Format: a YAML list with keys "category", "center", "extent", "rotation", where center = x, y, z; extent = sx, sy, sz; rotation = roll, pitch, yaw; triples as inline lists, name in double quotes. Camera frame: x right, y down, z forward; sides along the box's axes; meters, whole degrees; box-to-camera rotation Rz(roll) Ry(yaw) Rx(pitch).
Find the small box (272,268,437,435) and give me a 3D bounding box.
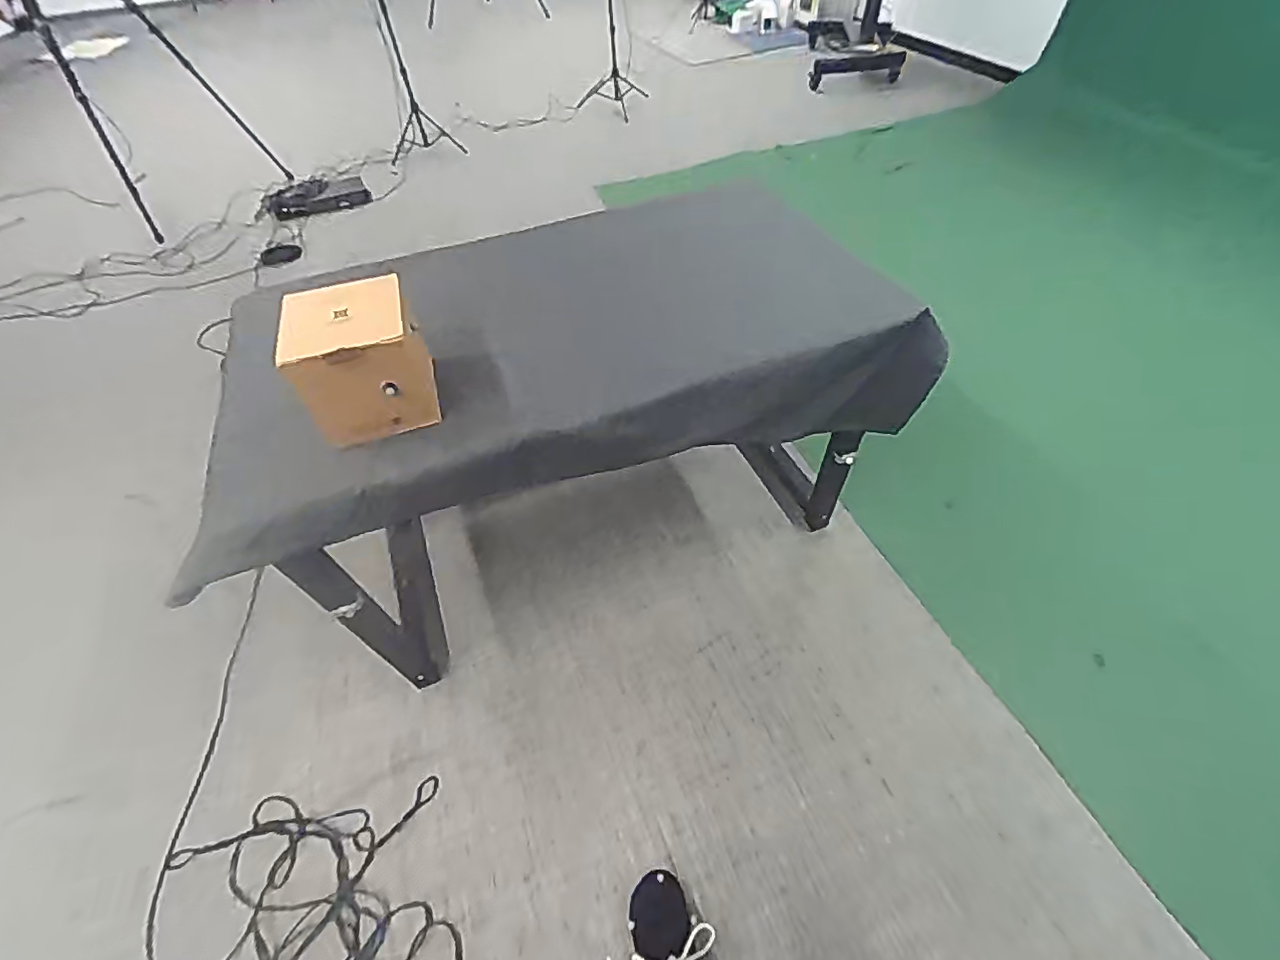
- category: "small box"
  center: [-0.419, -0.187, 0.818]
  extent: [0.168, 0.176, 0.179]
  rotation: [-16, 51, -11]
